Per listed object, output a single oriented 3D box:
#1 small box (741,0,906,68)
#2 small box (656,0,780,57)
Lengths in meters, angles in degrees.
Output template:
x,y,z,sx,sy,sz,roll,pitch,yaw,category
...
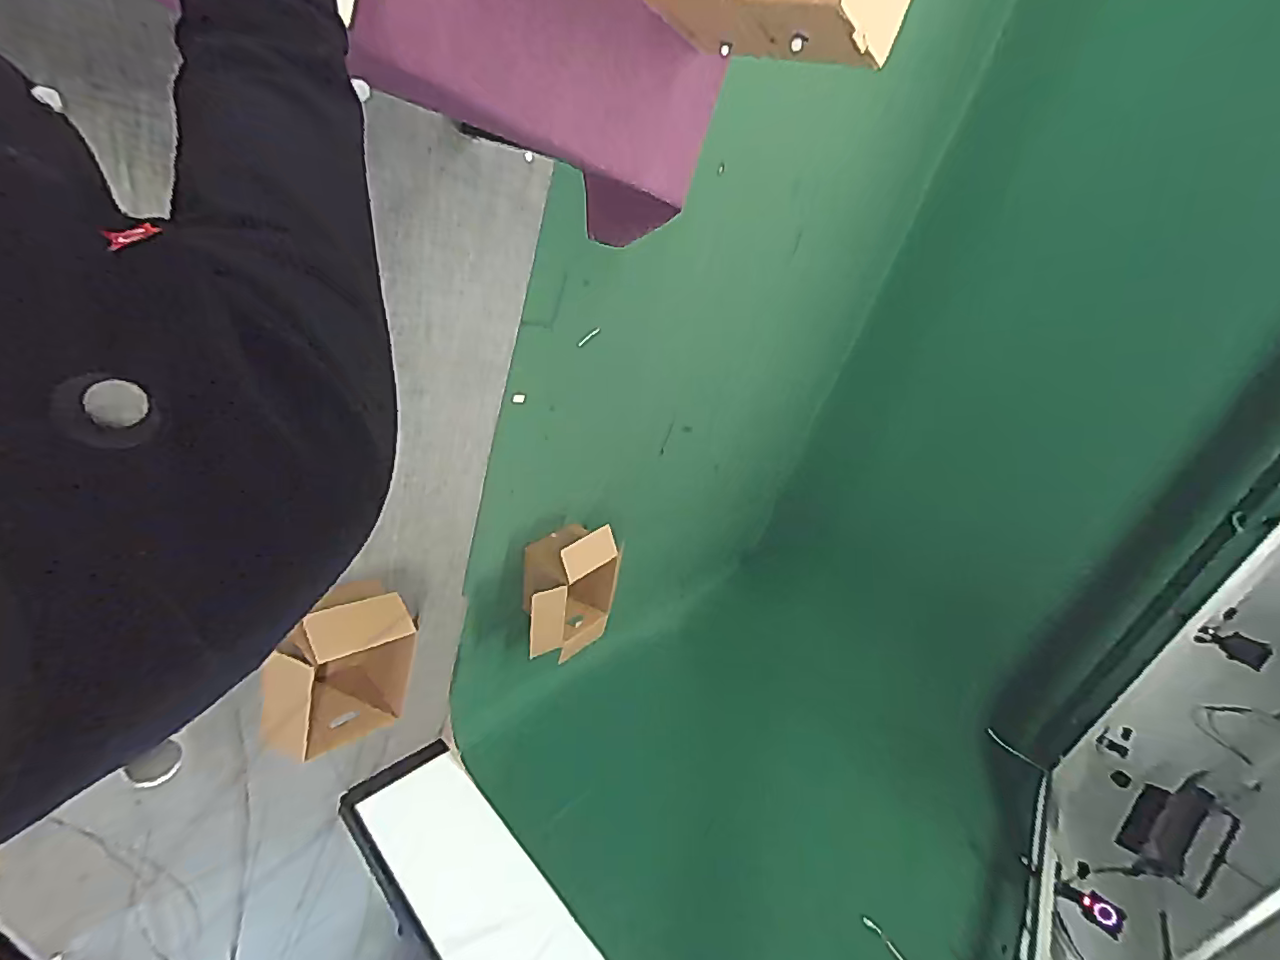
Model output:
x,y,z,sx,sy,sz,roll,pitch,yaw,category
0.246,-0.678,0.697,0.168,0.176,0.179,-11,129,-52,small box
0.133,-0.760,0.784,0.168,0.176,0.179,-10,127,-51,small box
